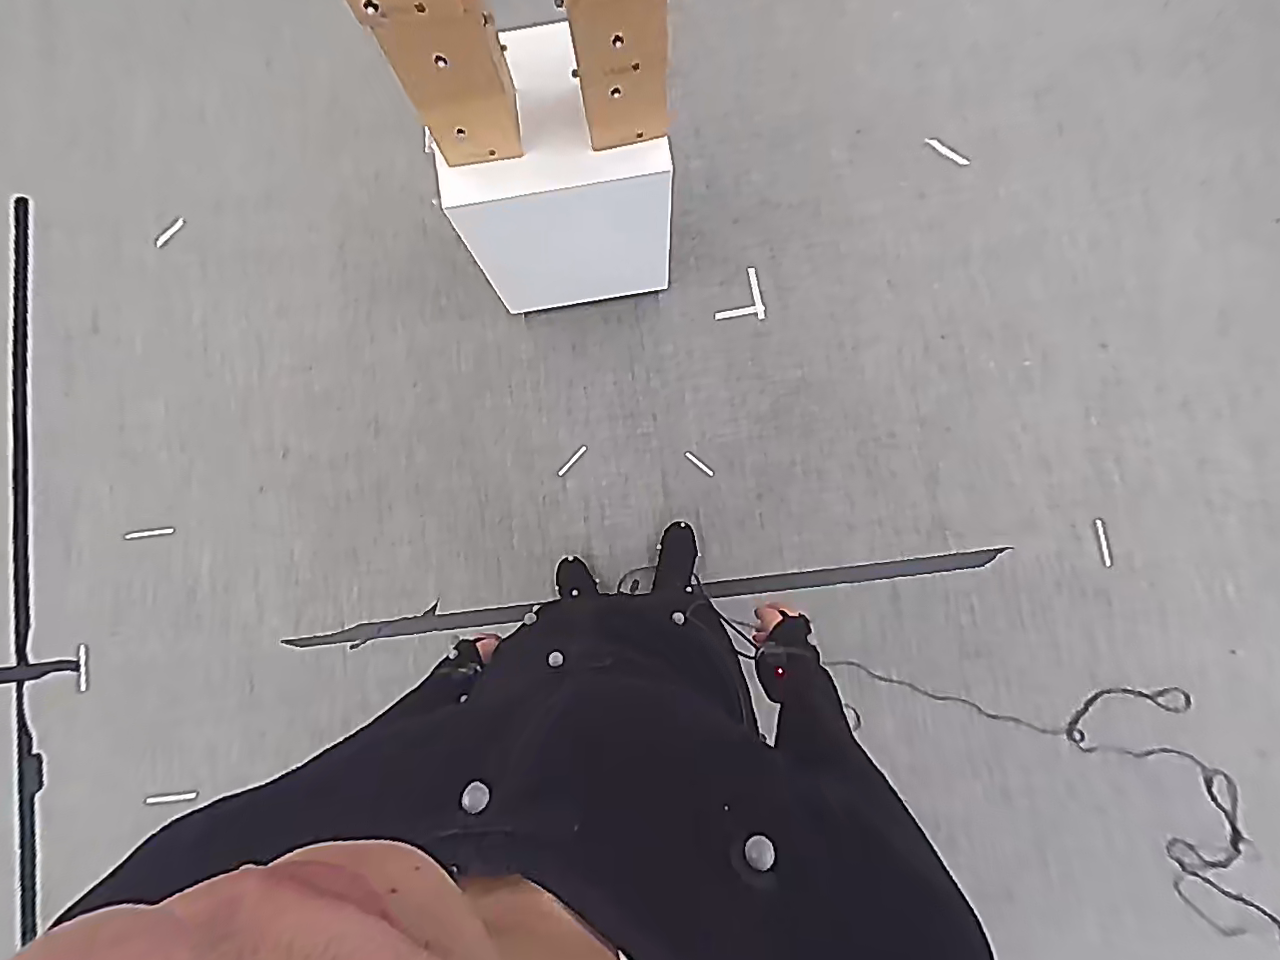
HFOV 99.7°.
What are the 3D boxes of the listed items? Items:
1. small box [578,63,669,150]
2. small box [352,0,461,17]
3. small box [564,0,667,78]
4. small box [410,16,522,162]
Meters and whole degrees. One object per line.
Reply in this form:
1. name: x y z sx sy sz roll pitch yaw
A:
1. small box: -0.038 -0.814 1.091 0.168 0.176 0.179 -11 83 2
2. small box: -0.364 -0.810 0.773 0.168 0.176 0.179 -5 83 2
3. small box: -0.046 -0.832 0.927 0.168 0.176 0.179 -10 83 2
4. small box: -0.345 -0.779 1.101 0.168 0.176 0.179 -8 83 1
